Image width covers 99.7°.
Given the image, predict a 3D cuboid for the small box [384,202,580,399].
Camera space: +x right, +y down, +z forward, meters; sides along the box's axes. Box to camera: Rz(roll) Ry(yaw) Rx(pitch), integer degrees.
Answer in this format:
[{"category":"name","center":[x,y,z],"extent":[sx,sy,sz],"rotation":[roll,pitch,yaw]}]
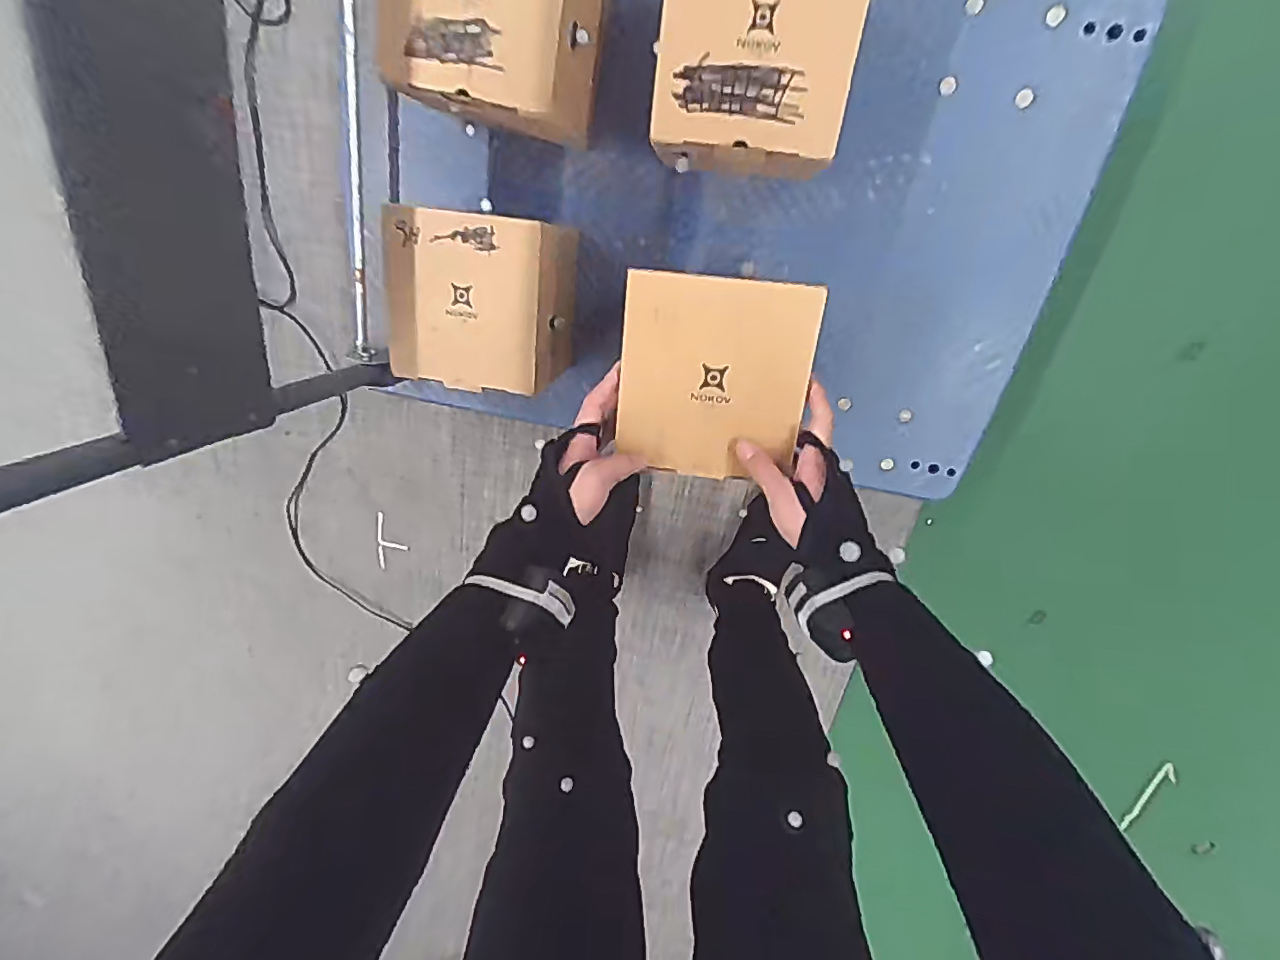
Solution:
[{"category":"small box","center":[-0.171,-0.211,0.630],"extent":[0.168,0.176,0.179],"rotation":[9,114,3]}]

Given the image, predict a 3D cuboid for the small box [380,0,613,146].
[{"category":"small box","center":[-0.128,-0.449,0.527],"extent":[0.168,0.176,0.179],"rotation":[14,113,1]}]

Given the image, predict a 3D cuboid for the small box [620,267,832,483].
[{"category":"small box","center":[0.075,-0.116,0.548],"extent":[0.168,0.176,0.179],"rotation":[7,113,3]}]
